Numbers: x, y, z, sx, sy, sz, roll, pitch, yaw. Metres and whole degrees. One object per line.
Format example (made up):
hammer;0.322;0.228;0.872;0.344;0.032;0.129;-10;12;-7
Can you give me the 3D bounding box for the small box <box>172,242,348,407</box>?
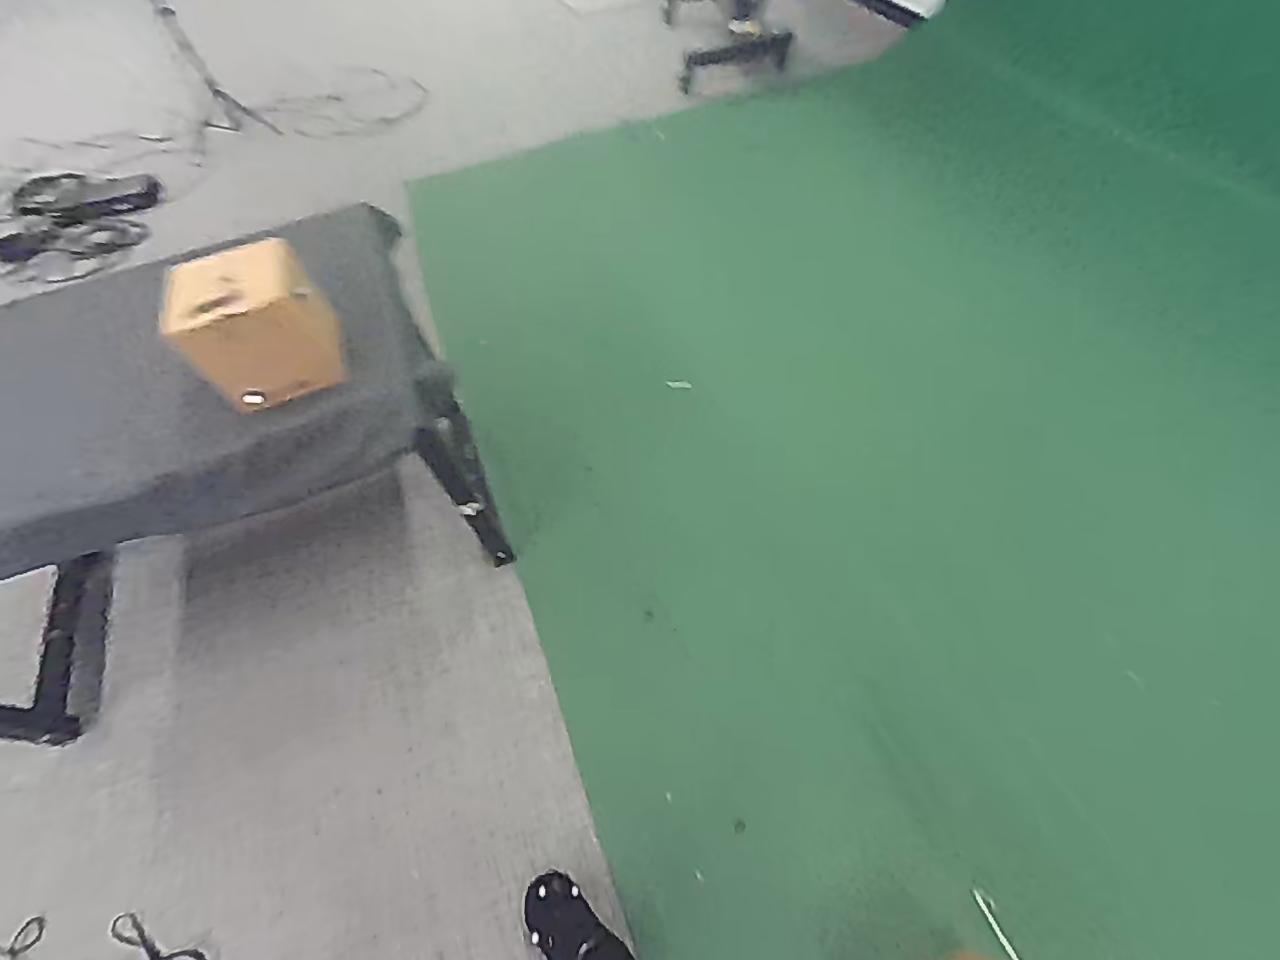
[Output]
small box;-0.593;-0.239;0.865;0.168;0.176;0.179;-21;56;-9
